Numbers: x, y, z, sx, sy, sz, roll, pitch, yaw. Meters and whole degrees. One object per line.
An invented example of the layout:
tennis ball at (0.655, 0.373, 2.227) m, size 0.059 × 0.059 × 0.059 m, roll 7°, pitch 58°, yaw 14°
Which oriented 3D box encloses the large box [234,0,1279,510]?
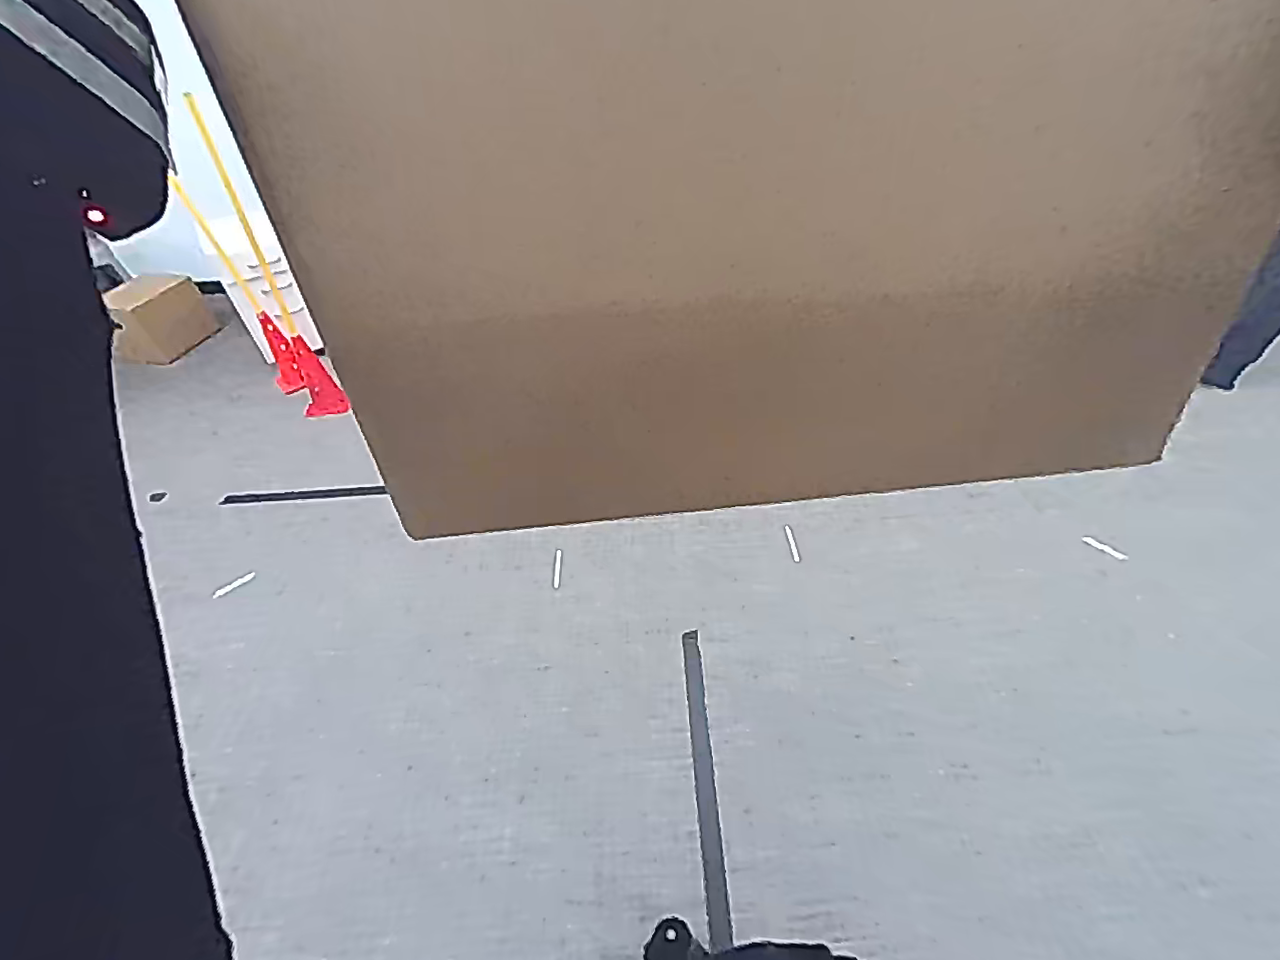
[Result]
large box at (0.050, -0.205, 0.348) m, size 0.408 × 0.320 × 0.320 m, roll -5°, pitch 34°, yaw -1°
